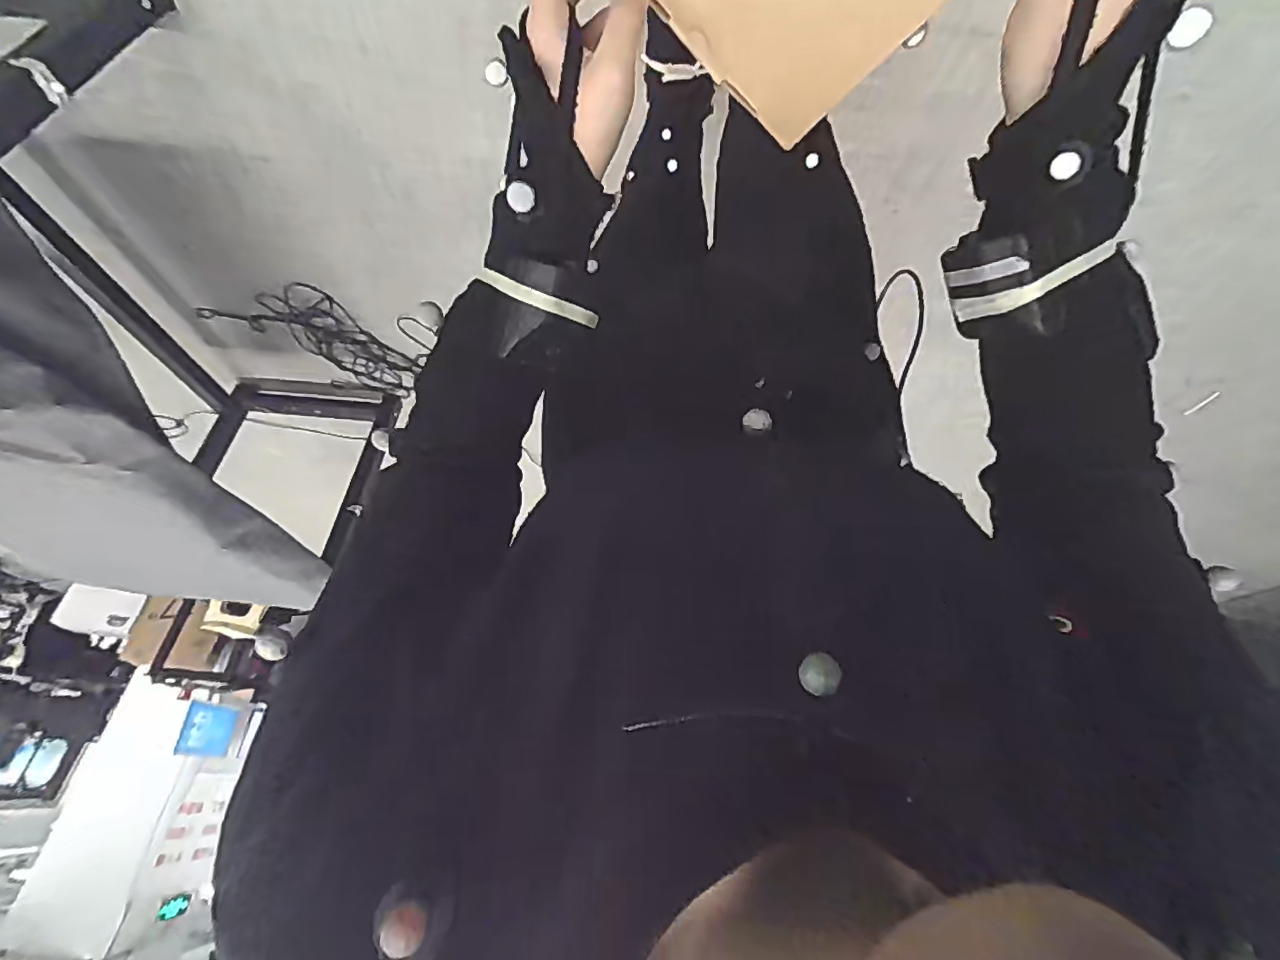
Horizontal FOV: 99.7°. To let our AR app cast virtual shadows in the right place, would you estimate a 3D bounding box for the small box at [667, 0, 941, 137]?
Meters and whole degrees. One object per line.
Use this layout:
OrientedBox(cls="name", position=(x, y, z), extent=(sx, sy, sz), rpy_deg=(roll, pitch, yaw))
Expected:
OrientedBox(cls="small box", position=(0.104, -0.347, 0.286), extent=(0.168, 0.176, 0.179), rpy_deg=(32, 148, -24))
